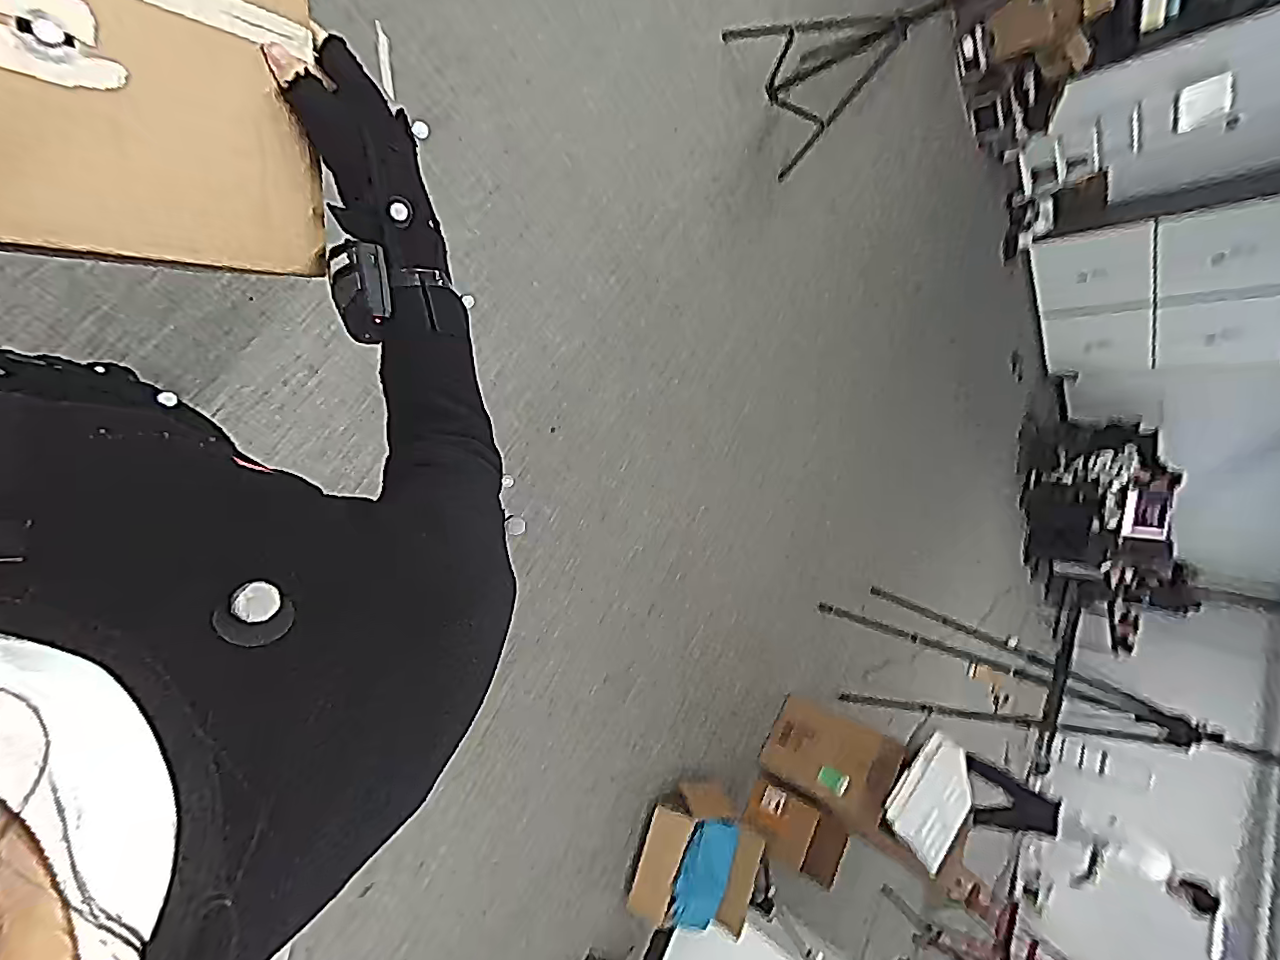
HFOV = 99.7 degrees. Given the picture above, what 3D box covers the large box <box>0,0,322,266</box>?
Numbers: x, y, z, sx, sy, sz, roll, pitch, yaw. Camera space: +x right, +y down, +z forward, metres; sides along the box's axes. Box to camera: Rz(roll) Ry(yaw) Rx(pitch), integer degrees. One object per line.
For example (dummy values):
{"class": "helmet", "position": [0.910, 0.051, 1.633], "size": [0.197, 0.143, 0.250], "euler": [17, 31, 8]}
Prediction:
{"class": "large box", "position": [-0.493, -0.320, 0.345], "size": [0.408, 0.320, 0.320], "euler": [-15, 117, -47]}
